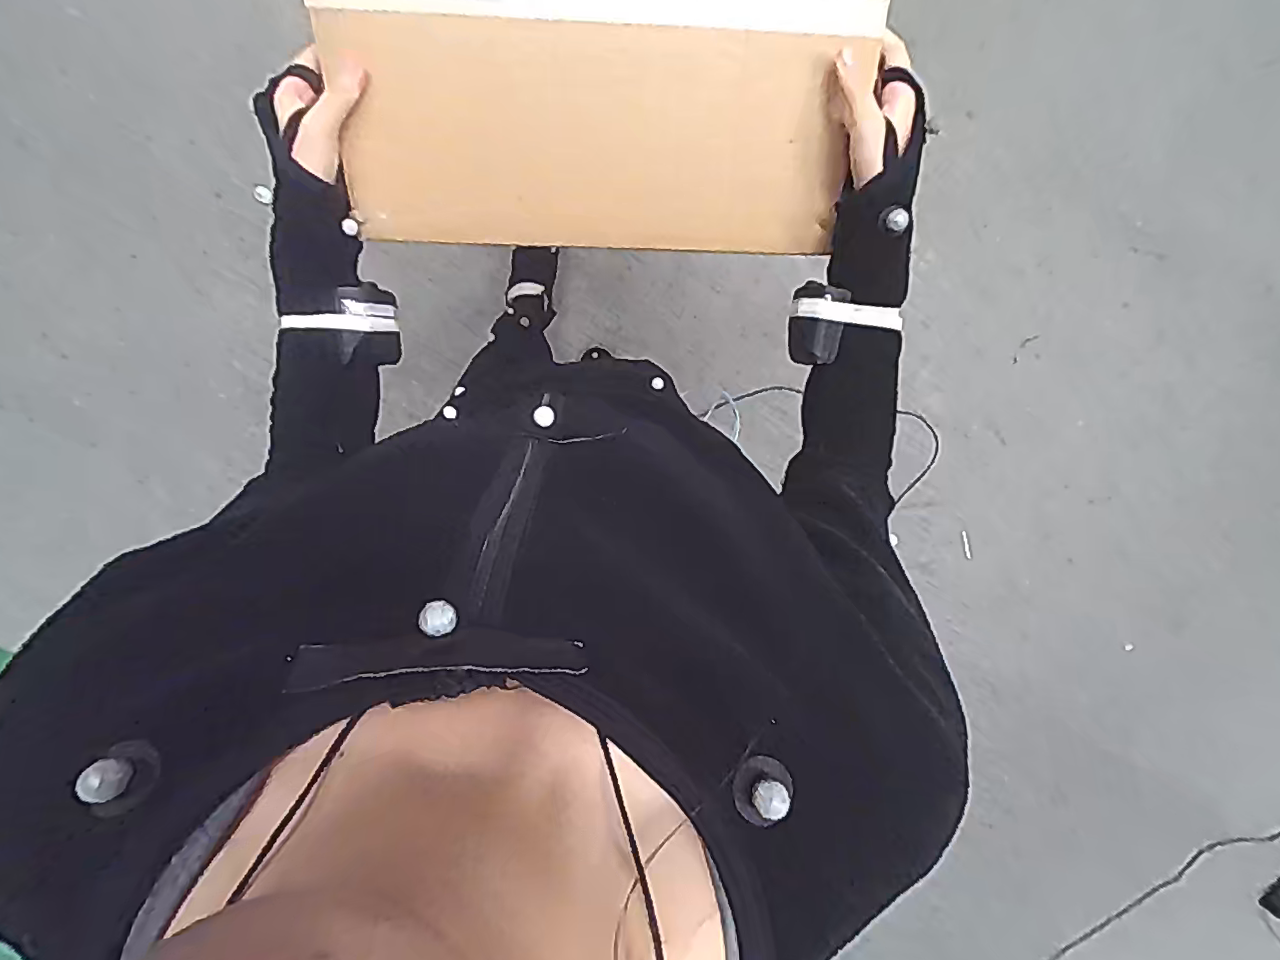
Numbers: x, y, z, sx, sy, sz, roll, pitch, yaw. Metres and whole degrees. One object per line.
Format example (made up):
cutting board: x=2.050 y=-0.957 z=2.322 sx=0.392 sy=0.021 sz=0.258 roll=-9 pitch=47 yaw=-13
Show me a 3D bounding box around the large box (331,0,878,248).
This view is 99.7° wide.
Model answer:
large box: x=-0.027 y=-0.417 z=0.522 sx=0.408 sy=0.320 sz=0.320 roll=1 pitch=120 yaw=-3
